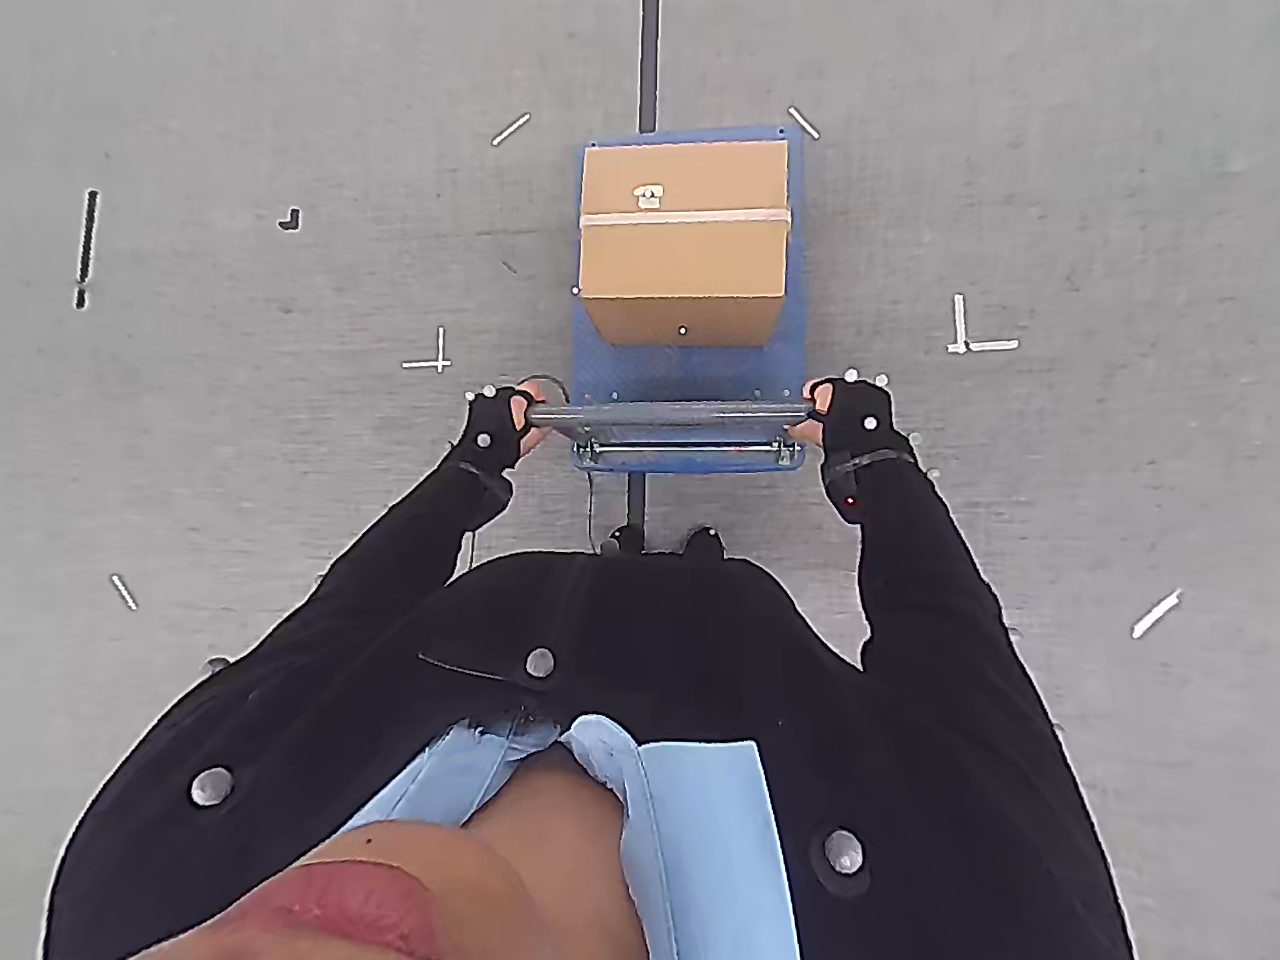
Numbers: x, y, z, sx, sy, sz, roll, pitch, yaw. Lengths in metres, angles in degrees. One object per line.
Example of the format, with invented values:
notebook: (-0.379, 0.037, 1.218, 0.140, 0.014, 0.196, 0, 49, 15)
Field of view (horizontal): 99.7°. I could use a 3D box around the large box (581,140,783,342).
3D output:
large box: (0.101, -0.509, 1.222, 0.408, 0.320, 0.320, 2, 86, 7)
